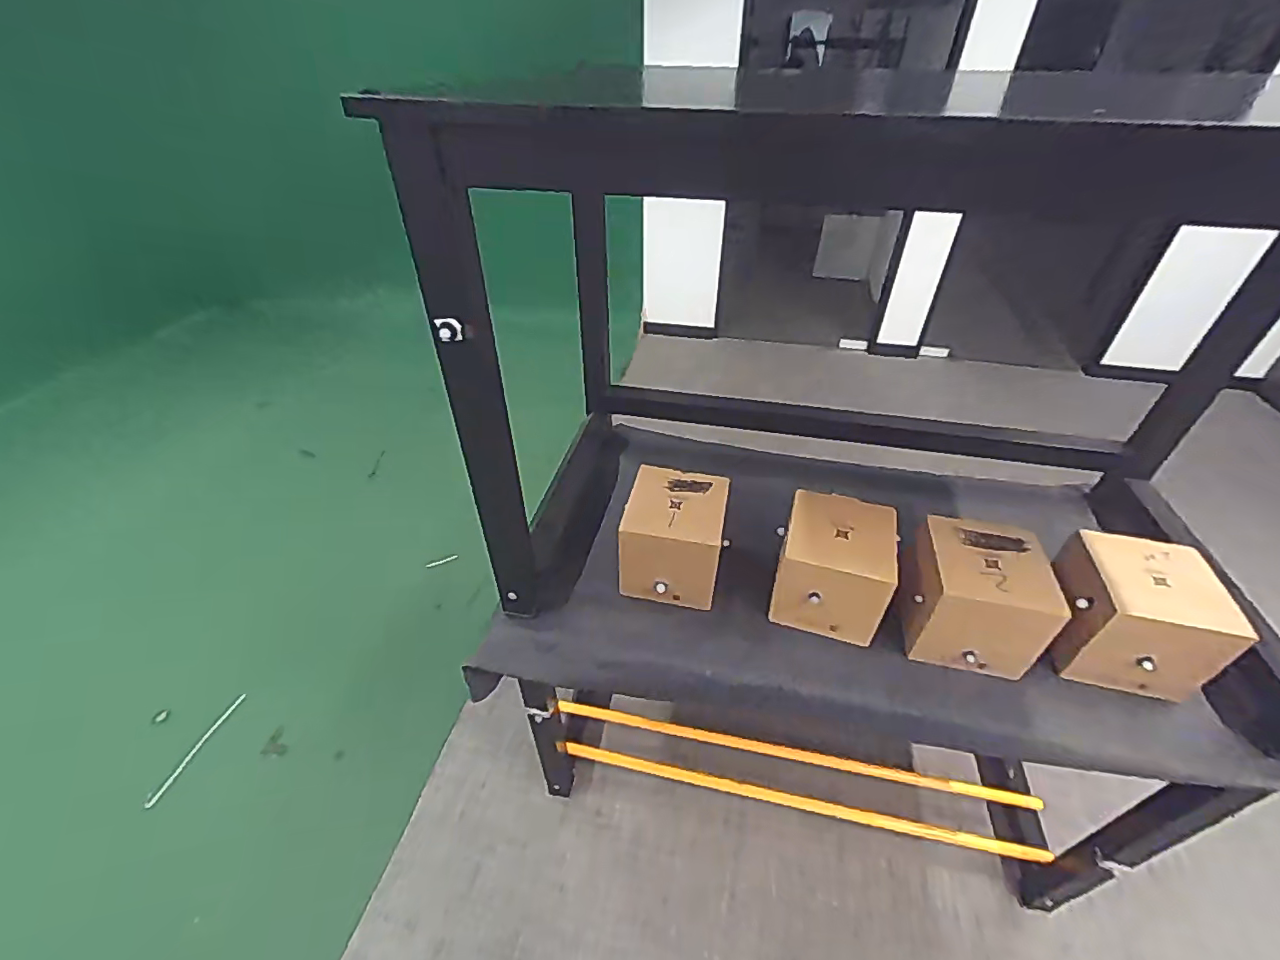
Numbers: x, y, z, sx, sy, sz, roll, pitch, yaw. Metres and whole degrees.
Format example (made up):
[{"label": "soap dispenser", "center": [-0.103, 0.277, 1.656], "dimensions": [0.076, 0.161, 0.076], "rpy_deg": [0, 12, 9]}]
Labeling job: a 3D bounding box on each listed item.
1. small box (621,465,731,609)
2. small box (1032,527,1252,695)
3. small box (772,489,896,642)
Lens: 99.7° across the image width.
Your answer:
[{"label": "small box", "center": [0.064, 0.101, 0.970], "dimensions": [0.168, 0.176, 0.179], "rpy_deg": [8, 41, 9]}, {"label": "small box", "center": [0.756, 0.205, 0.843], "dimensions": [0.168, 0.176, 0.179], "rpy_deg": [10, 40, 12]}, {"label": "small box", "center": [0.326, 0.145, 0.920], "dimensions": [0.168, 0.176, 0.179], "rpy_deg": [12, 41, 14]}]
